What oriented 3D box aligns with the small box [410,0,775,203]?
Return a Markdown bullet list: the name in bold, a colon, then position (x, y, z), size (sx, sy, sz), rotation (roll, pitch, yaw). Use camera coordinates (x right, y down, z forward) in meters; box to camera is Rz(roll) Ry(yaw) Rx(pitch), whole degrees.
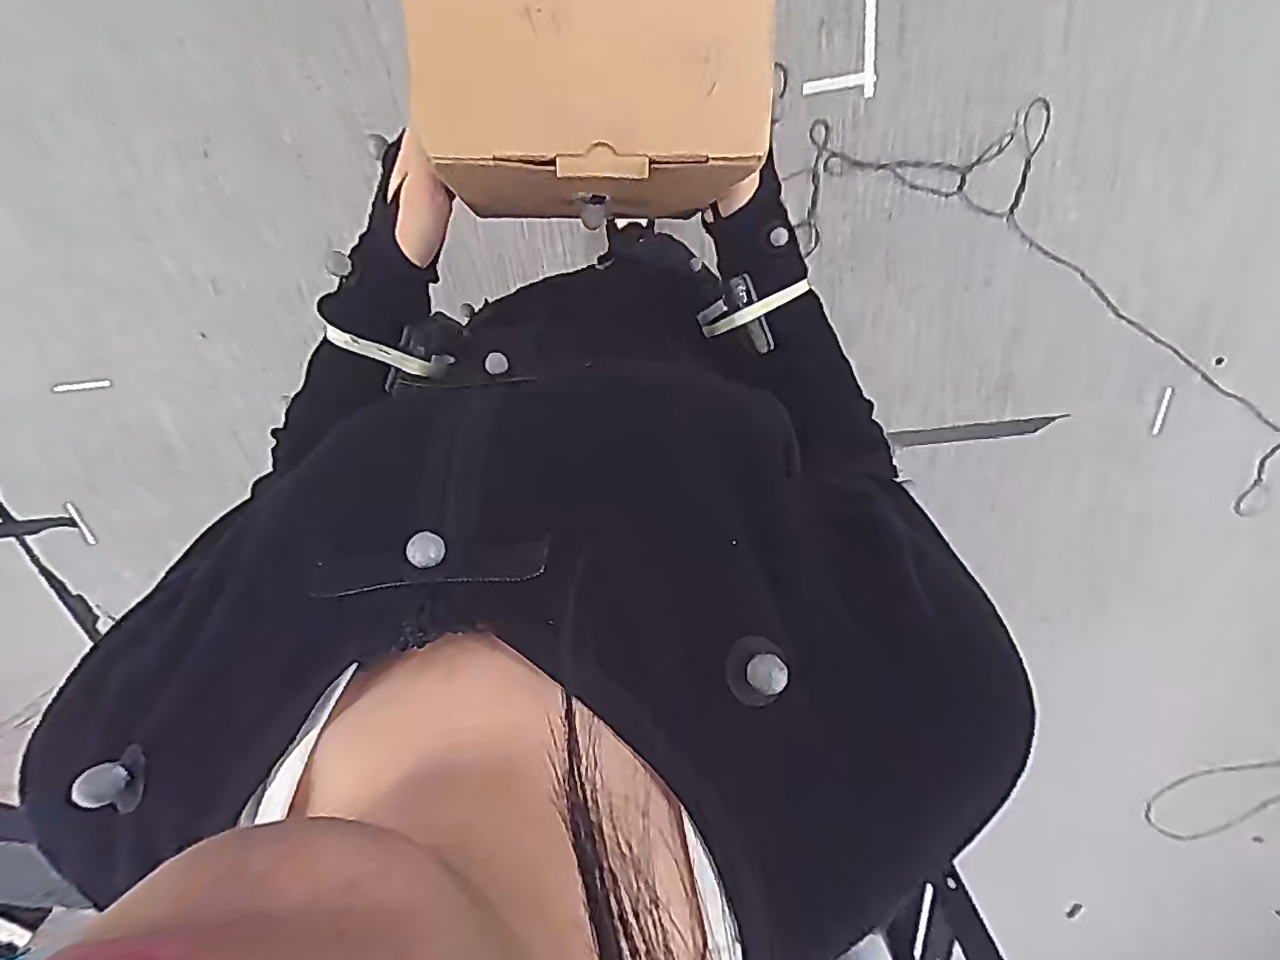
- **small box**: position (-0.029, -0.263, 0.306), size (0.168, 0.176, 0.179), rotation (-4, 109, -8)
